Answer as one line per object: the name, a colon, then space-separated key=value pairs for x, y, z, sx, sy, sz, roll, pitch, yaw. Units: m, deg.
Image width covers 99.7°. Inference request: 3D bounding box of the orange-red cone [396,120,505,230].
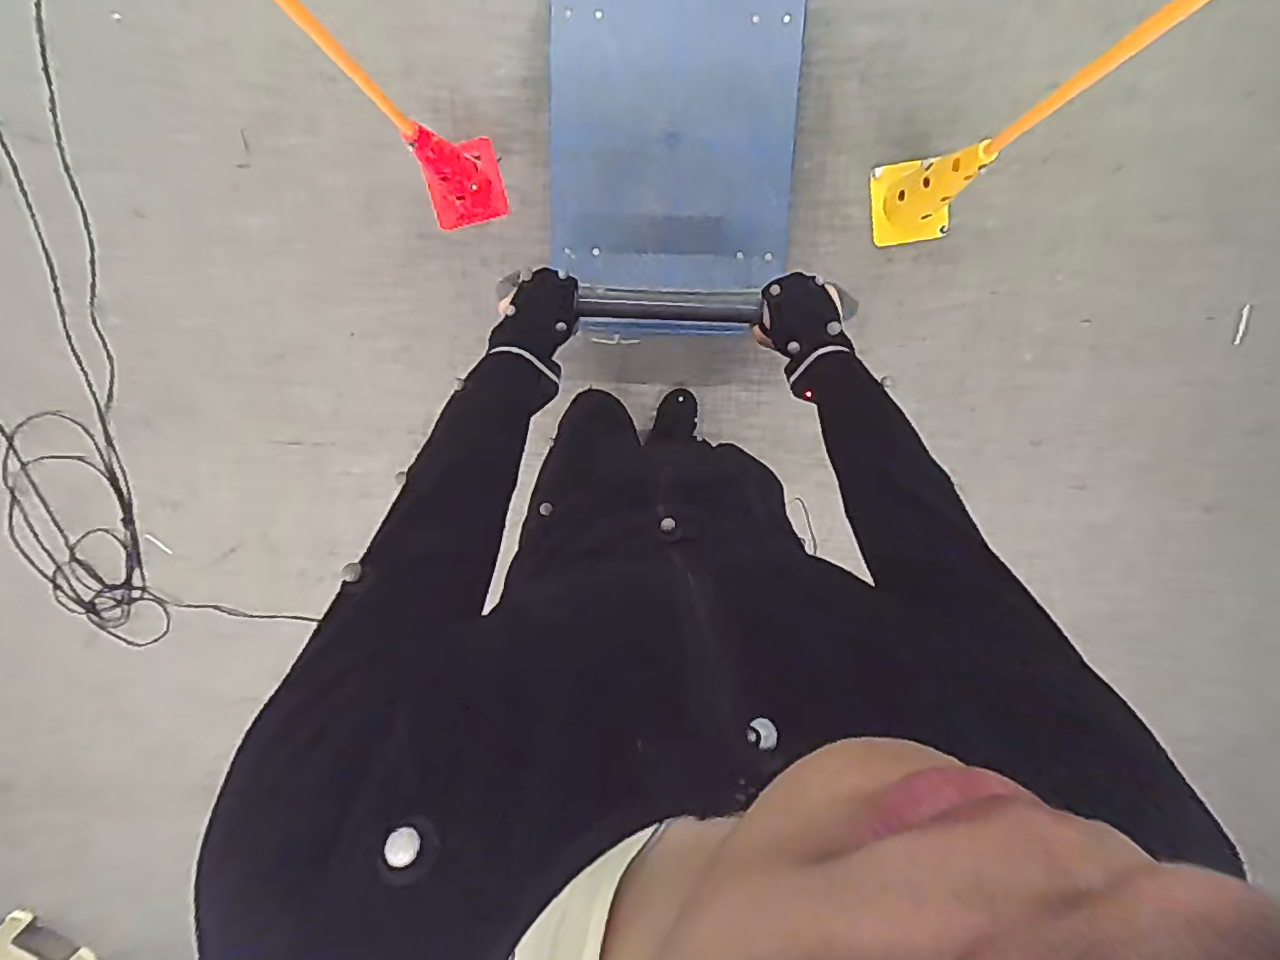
orange-red cone: x=-0.477 y=-0.750 z=1.275 sx=0.199 sy=0.360 sz=0.198 roll=-11 pitch=101 yaw=5
